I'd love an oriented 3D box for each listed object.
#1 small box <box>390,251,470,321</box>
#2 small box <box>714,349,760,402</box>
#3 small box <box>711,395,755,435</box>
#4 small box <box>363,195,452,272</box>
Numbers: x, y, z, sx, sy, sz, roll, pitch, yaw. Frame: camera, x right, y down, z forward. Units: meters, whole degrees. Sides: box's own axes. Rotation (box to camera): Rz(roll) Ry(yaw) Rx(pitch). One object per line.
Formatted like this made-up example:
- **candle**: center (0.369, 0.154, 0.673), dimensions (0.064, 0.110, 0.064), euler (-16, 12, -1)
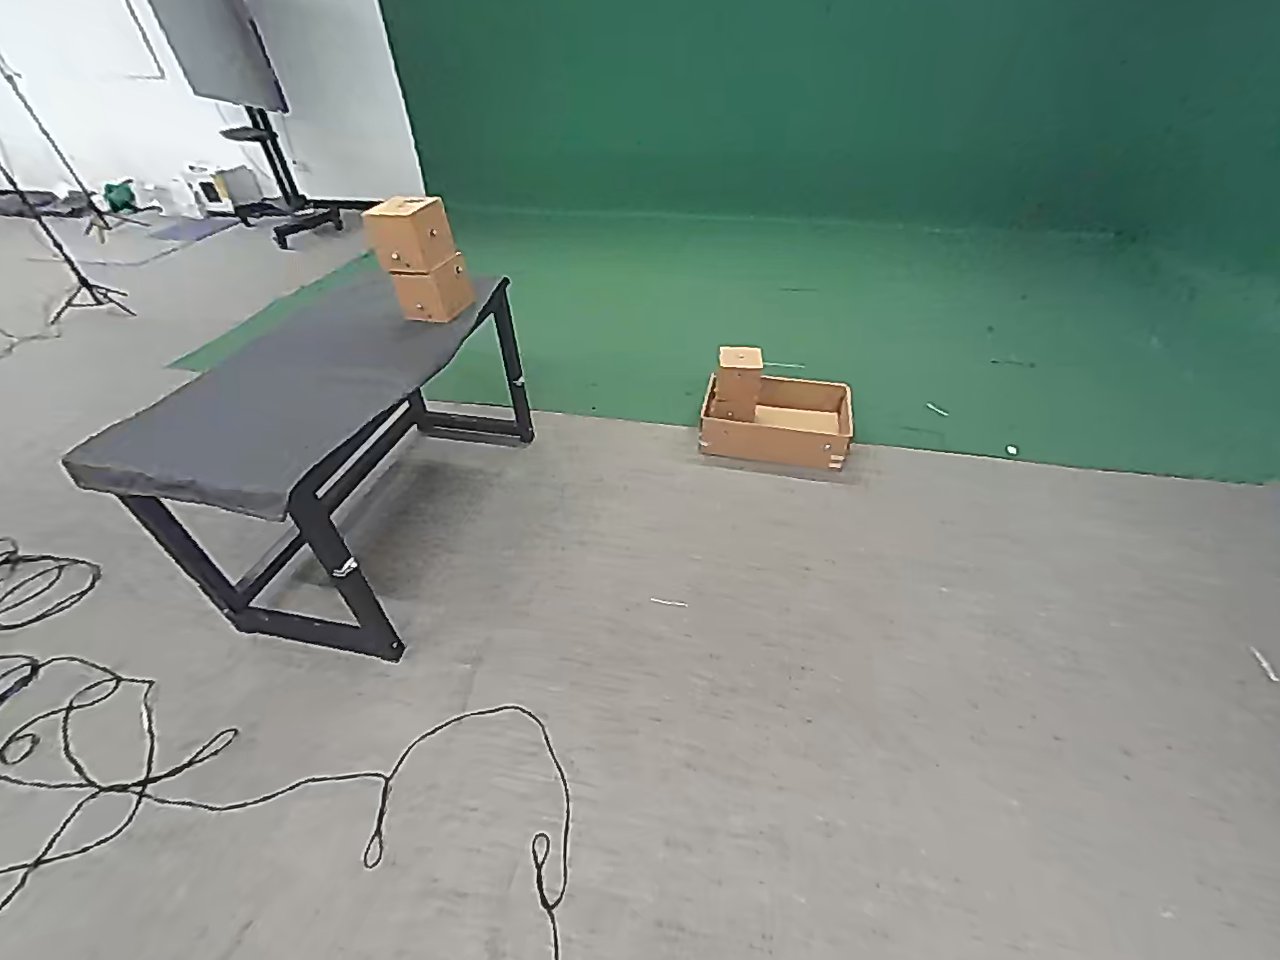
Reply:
- **small box**: center (-0.677, -0.640, 1.768), dimensions (0.168, 0.176, 0.179), euler (9, 44, 15)
- **small box**: center (0.409, -0.443, 2.307), dimensions (0.179, 0.176, 0.168), euler (4, 44, 3)
- **small box**: center (0.416, -0.321, 2.417), dimensions (0.179, 0.176, 0.168), euler (9, 43, 12)
- **small box**: center (-0.699, -0.755, 1.652), dimensions (0.168, 0.176, 0.179), euler (9, 44, 14)
